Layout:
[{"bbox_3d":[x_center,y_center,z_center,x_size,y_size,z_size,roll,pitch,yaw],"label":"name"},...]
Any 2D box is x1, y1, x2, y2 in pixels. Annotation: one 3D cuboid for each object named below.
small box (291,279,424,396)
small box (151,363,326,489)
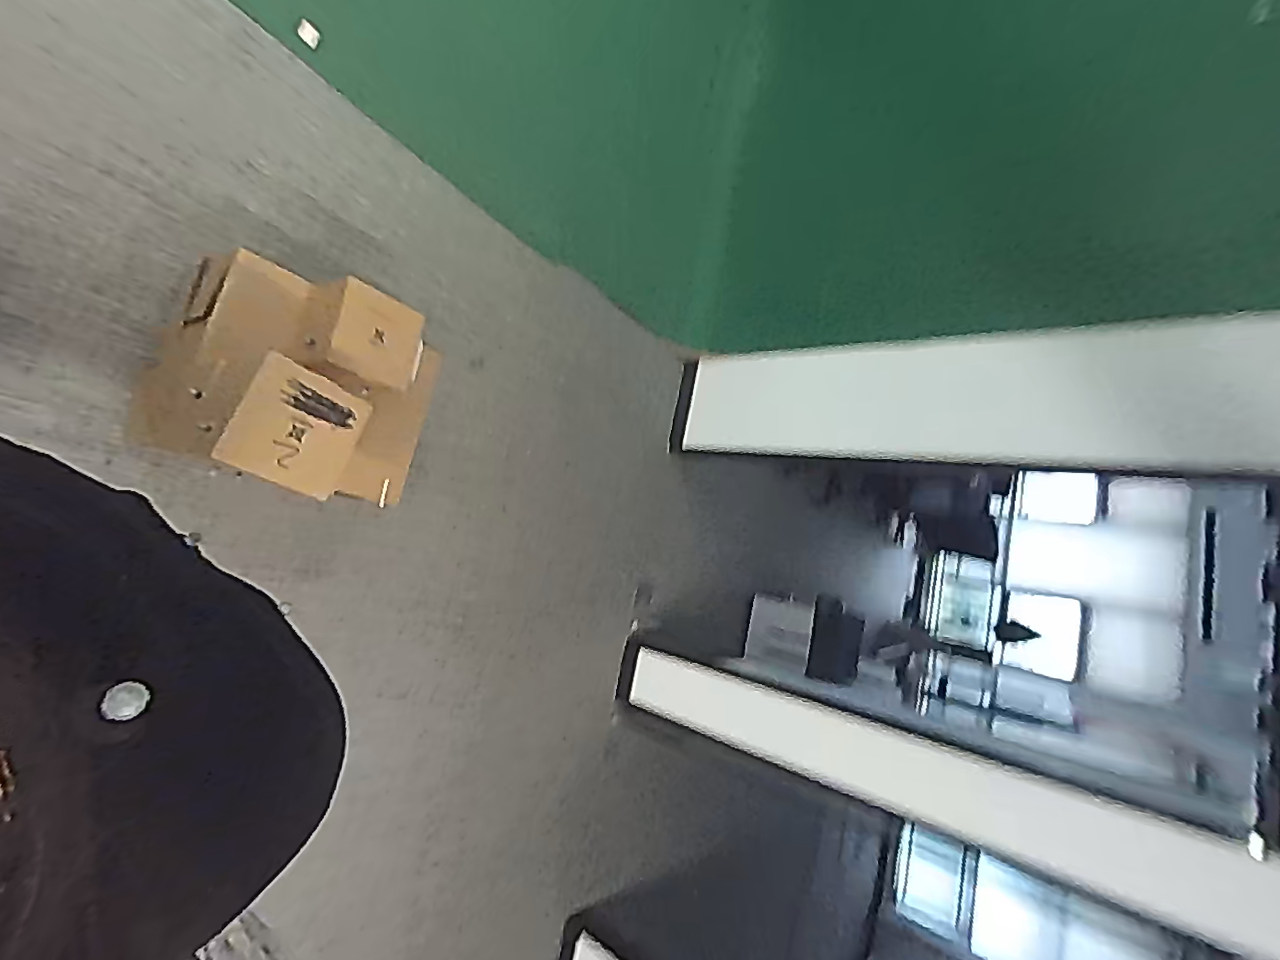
[{"bbox_3d":[-0.581,-0.282,1.109,0.168,0.176,0.179,23,75,-54],"label":"small box"},{"bbox_3d":[-0.708,-0.096,0.959,0.179,0.176,0.168,32,71,-51],"label":"small box"}]
